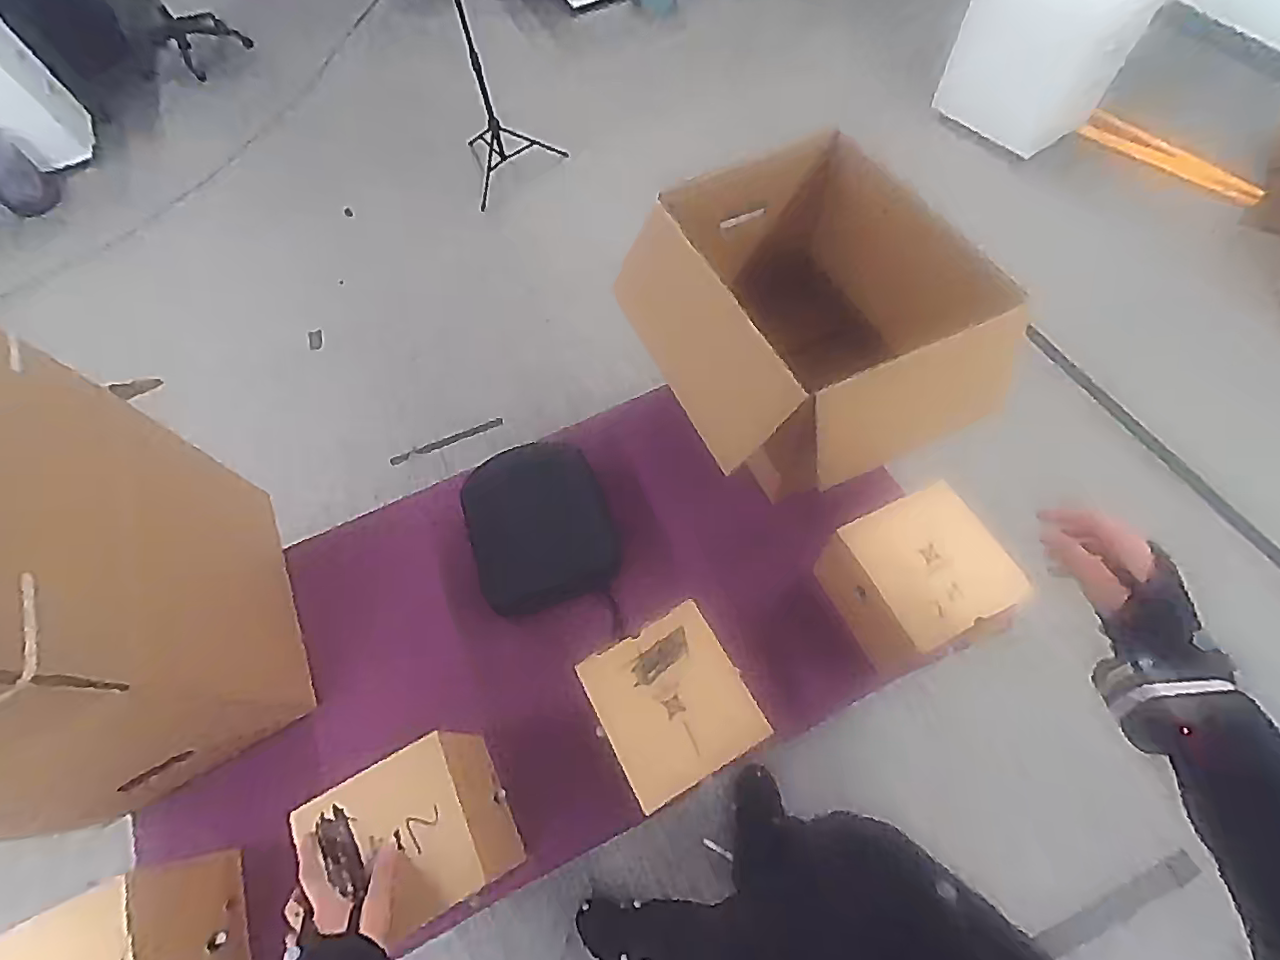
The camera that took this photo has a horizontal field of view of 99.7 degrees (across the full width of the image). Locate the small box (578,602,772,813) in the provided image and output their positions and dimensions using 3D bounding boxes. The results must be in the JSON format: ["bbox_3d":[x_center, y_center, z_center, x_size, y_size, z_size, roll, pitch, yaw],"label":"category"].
[{"bbox_3d":[0.040,0.287,0.688,0.168,0.176,0.179,-28,65,-9],"label":"small box"}]

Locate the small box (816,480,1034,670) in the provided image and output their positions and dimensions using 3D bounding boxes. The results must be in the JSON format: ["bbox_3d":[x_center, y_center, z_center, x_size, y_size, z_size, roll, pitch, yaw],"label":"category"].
[{"bbox_3d":[0.364,0.135,0.734,0.168,0.176,0.179,-24,63,-6],"label":"small box"}]

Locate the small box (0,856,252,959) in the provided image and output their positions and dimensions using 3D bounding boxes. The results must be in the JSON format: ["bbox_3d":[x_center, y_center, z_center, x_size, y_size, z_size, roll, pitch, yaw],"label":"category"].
[{"bbox_3d":[-0.581,0.559,0.604,0.179,0.176,0.168,-25,64,-9],"label":"small box"}]
